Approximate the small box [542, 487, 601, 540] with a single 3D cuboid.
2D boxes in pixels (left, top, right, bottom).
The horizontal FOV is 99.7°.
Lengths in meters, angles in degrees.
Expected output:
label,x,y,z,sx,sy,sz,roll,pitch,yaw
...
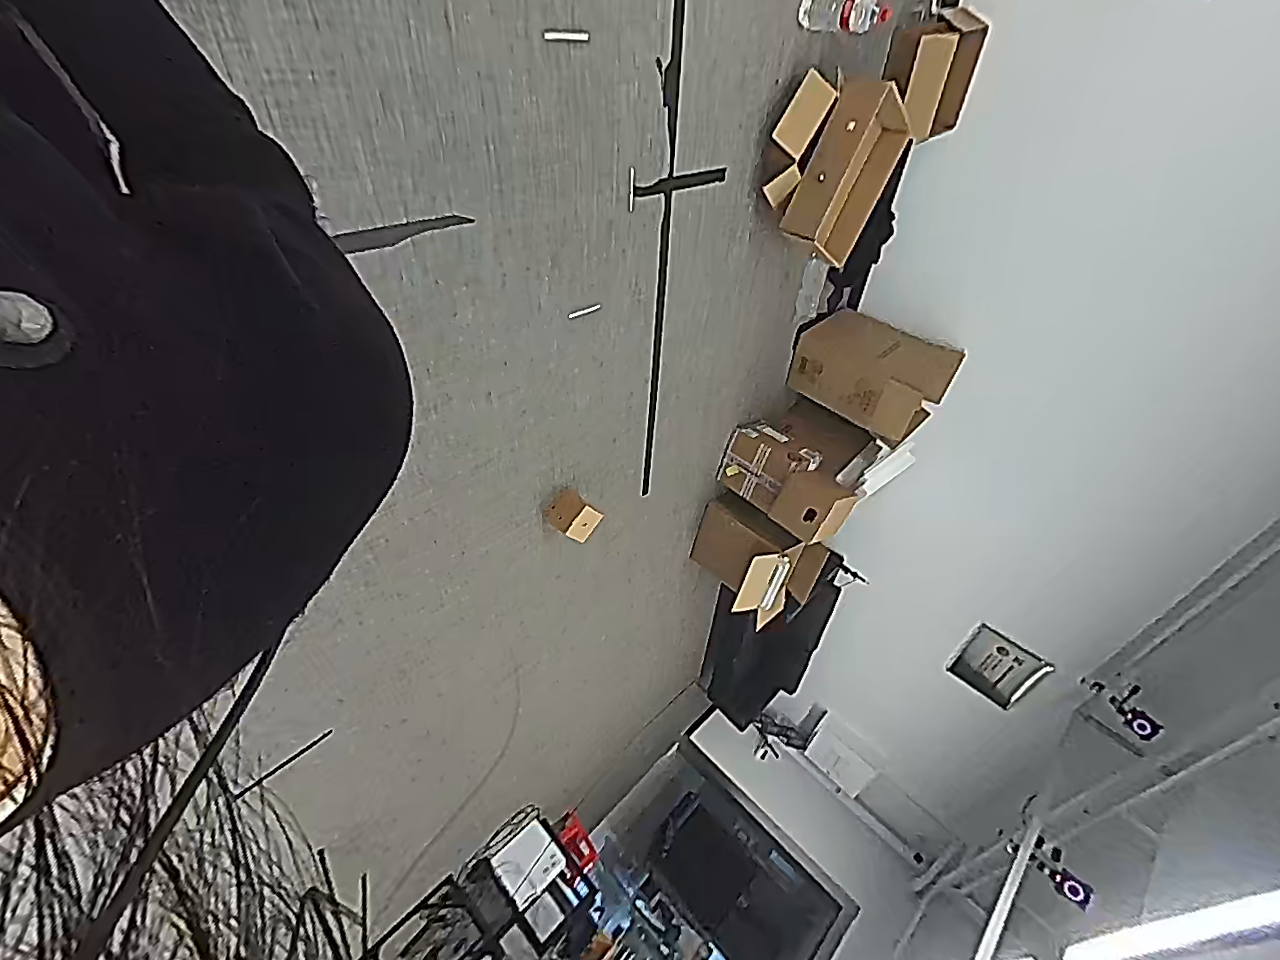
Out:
label,x,y,z,sx,sy,sz,roll,pitch,yaw
small box,-0.322,0.152,2.516,0.168,0.176,0.179,-53,151,-1
